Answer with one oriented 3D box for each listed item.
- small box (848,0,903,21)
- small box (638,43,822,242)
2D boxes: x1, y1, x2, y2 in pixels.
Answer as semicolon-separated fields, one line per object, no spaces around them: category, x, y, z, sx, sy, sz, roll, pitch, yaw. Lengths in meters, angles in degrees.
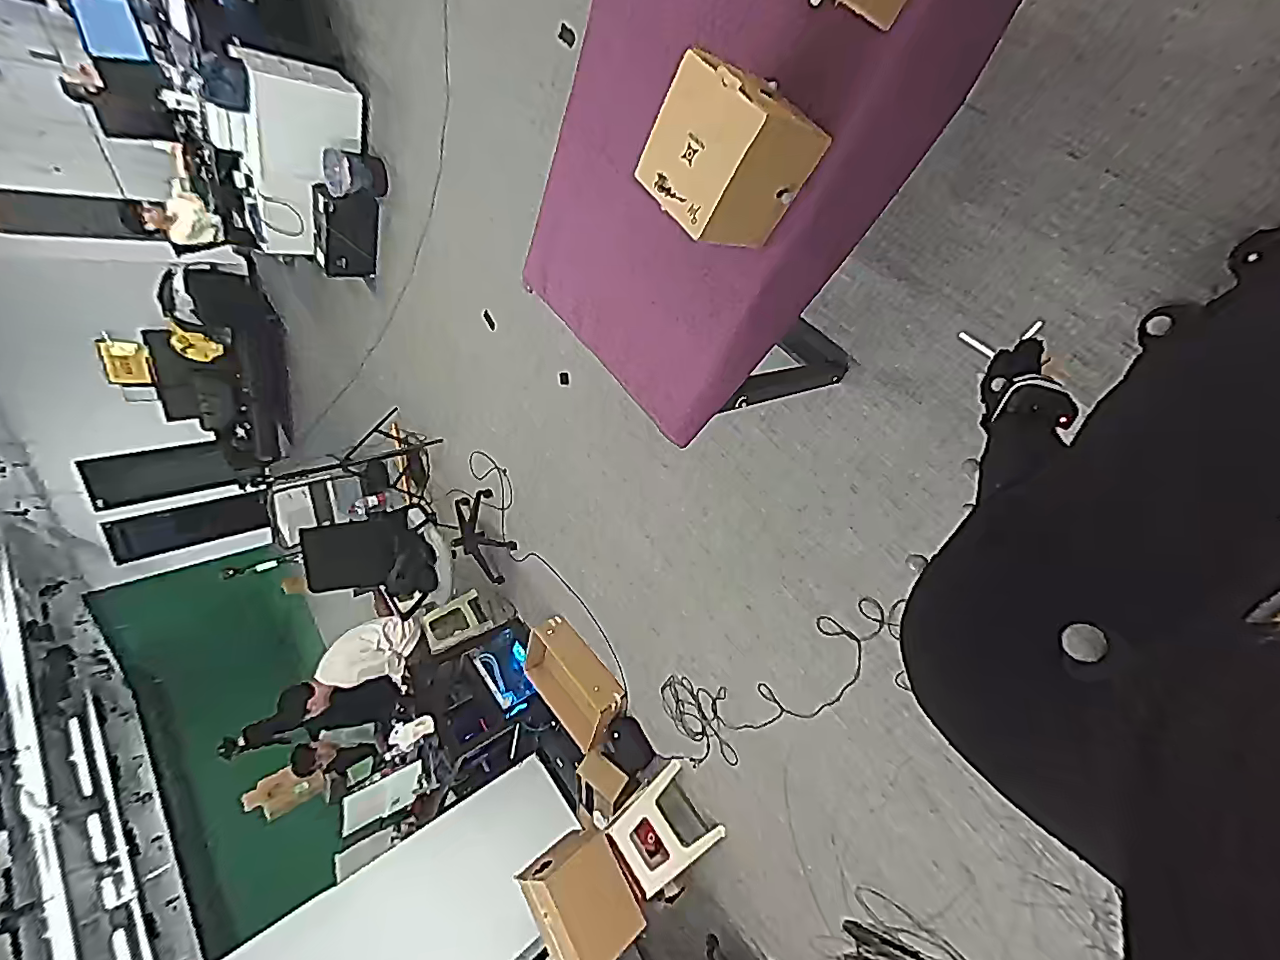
small box;0.246;-0.665;0.595;0.168;0.176;0.179;54;137;21
small box;0.135;-0.473;0.784;0.168;0.176;0.179;55;135;20
